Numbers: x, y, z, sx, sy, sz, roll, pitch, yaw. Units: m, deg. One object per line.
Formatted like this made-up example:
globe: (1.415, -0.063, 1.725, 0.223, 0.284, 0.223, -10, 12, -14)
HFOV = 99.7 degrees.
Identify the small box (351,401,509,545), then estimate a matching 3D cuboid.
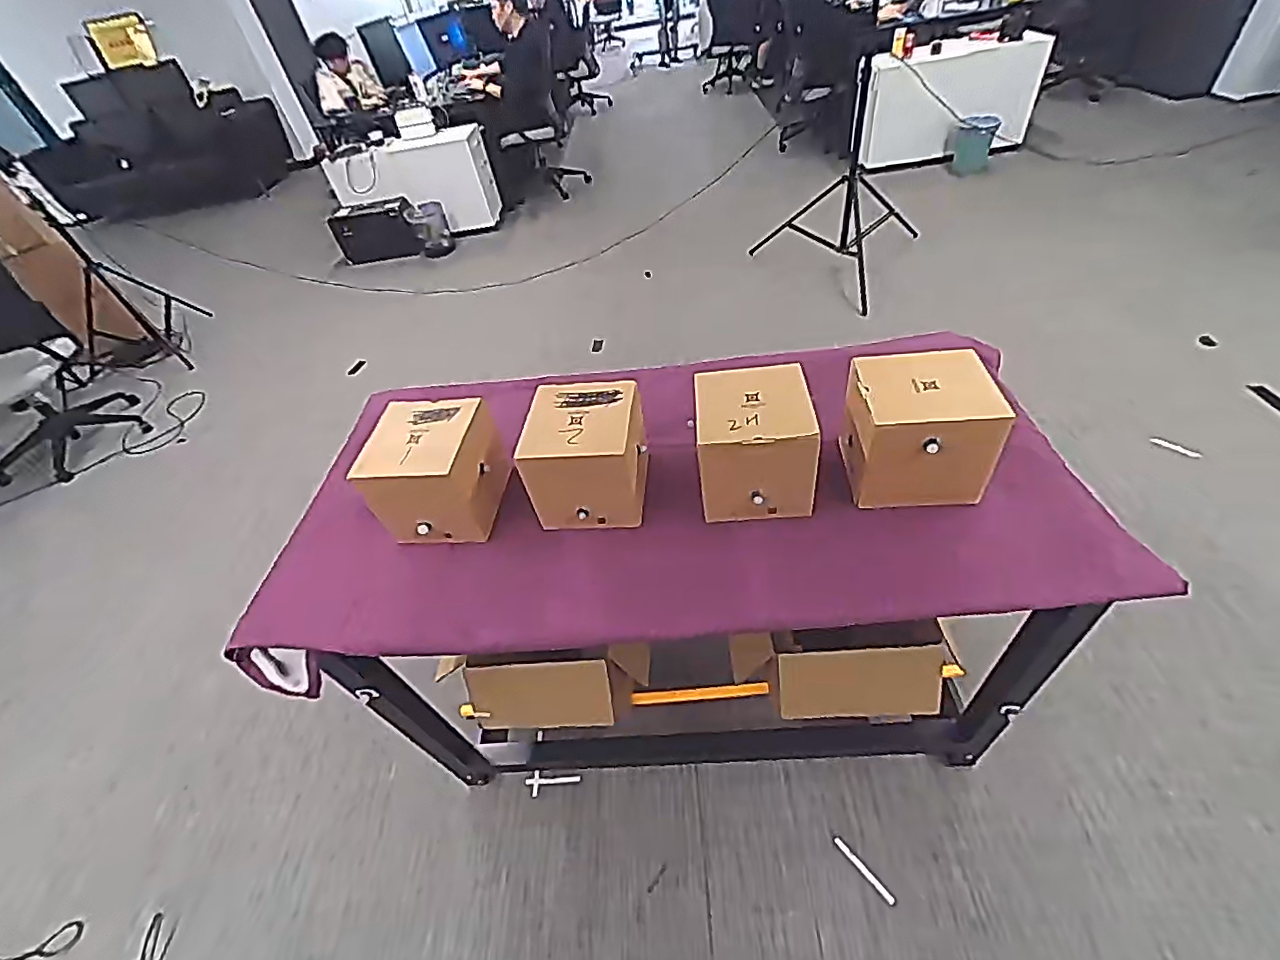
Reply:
small box: (-0.333, -0.011, 0.902, 0.168, 0.176, 0.179, -2, 48, 9)

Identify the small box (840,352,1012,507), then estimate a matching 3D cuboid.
small box: (0.415, -0.073, 0.820, 0.179, 0.176, 0.168, -3, 44, 10)

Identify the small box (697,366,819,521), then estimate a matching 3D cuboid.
small box: (0.176, -0.056, 0.849, 0.168, 0.176, 0.179, -4, 45, 8)
